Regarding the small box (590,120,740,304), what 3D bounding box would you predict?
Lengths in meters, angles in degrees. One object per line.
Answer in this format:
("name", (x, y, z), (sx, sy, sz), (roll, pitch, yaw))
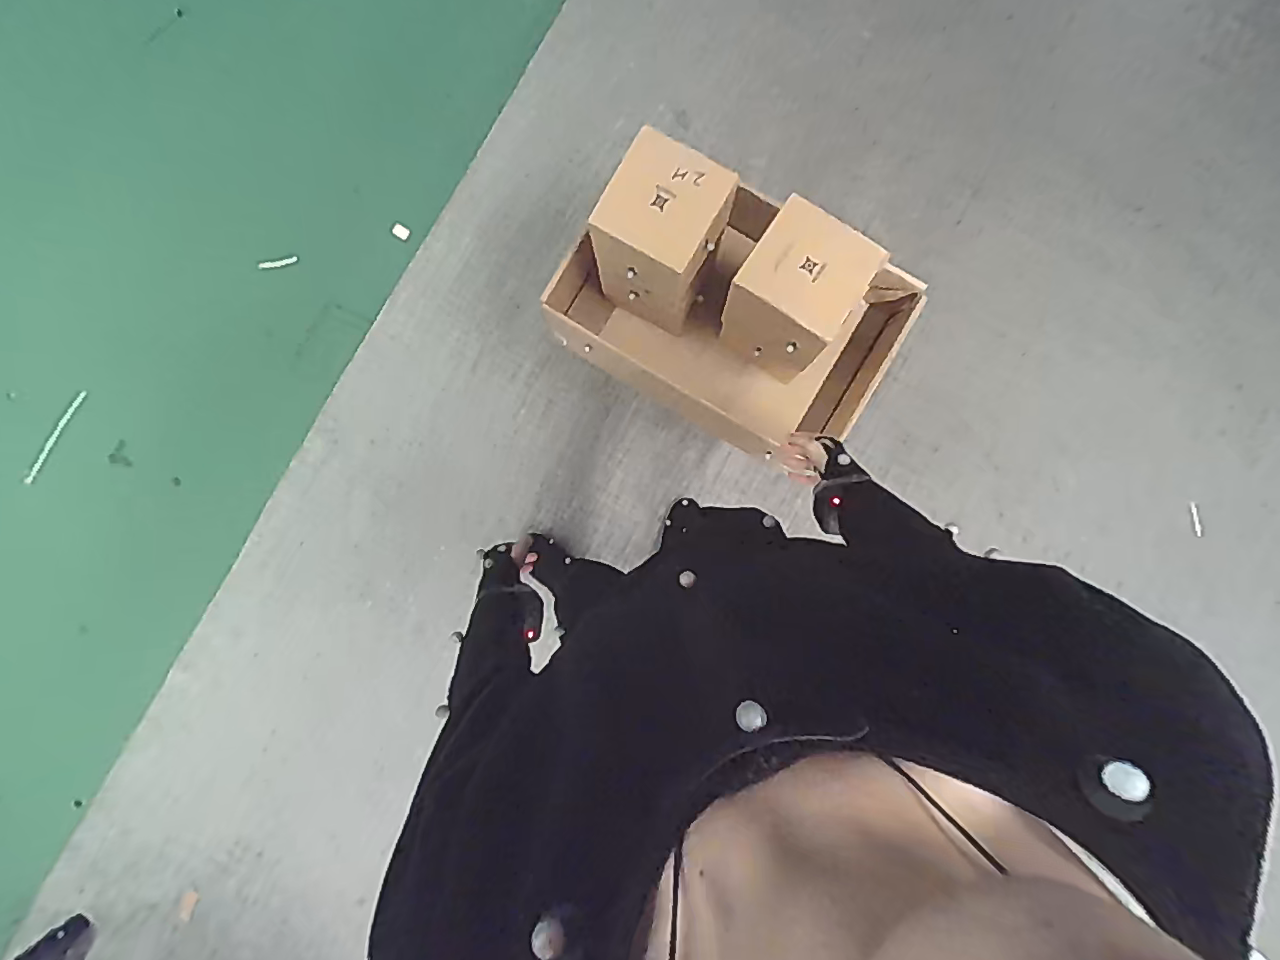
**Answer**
("small box", (0.042, -0.418, 0.876), (0.168, 0.176, 0.179), (31, 89, 4))
